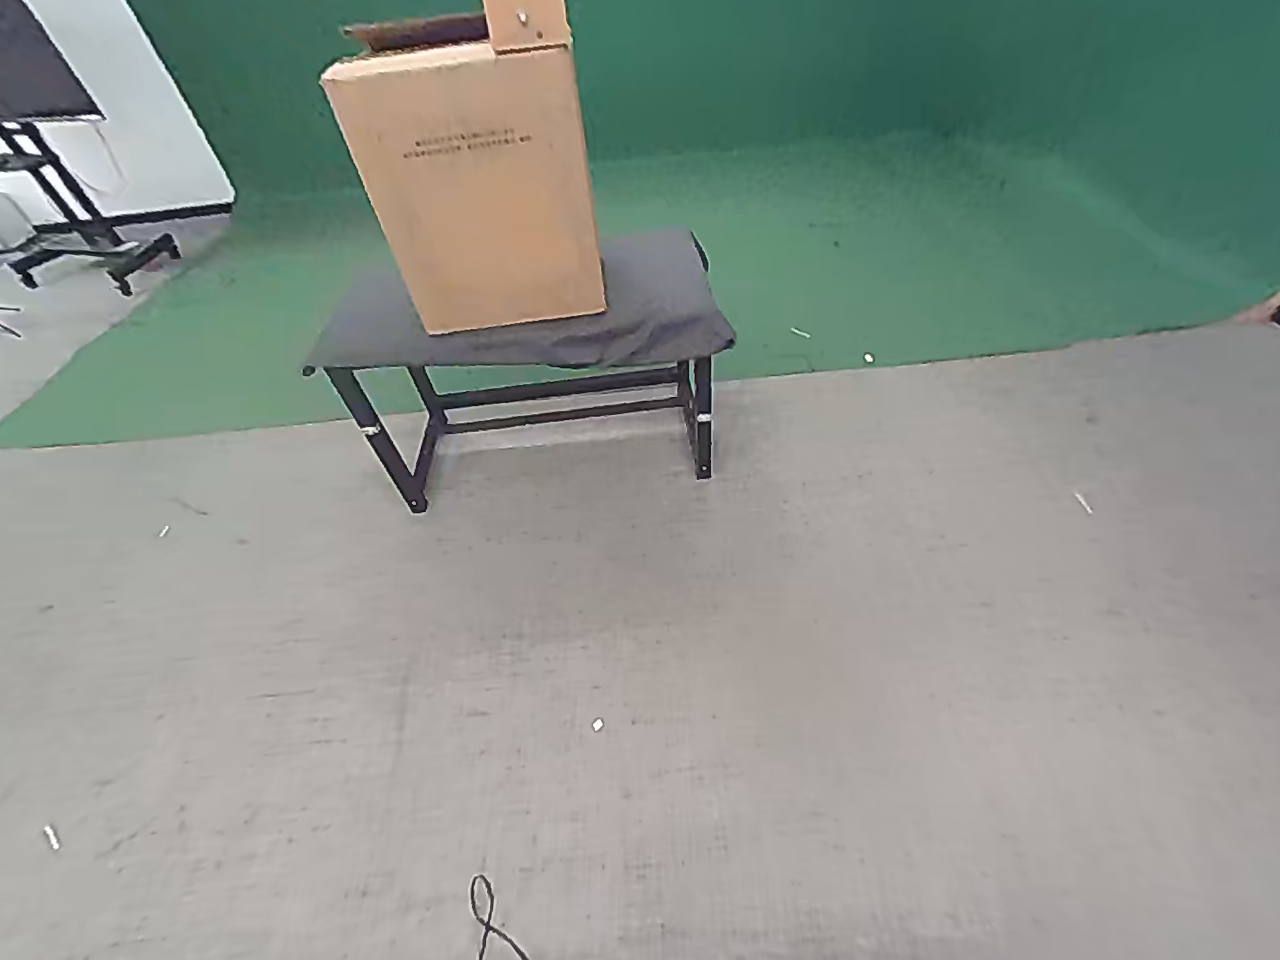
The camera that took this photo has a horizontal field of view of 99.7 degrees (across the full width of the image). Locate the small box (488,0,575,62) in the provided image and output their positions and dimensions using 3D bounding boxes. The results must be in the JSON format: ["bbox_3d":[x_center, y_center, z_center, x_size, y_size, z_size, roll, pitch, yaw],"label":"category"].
[{"bbox_3d":[-0.234,-1.022,1.165,0.168,0.176,0.179,-7,47,-1],"label":"small box"}]
